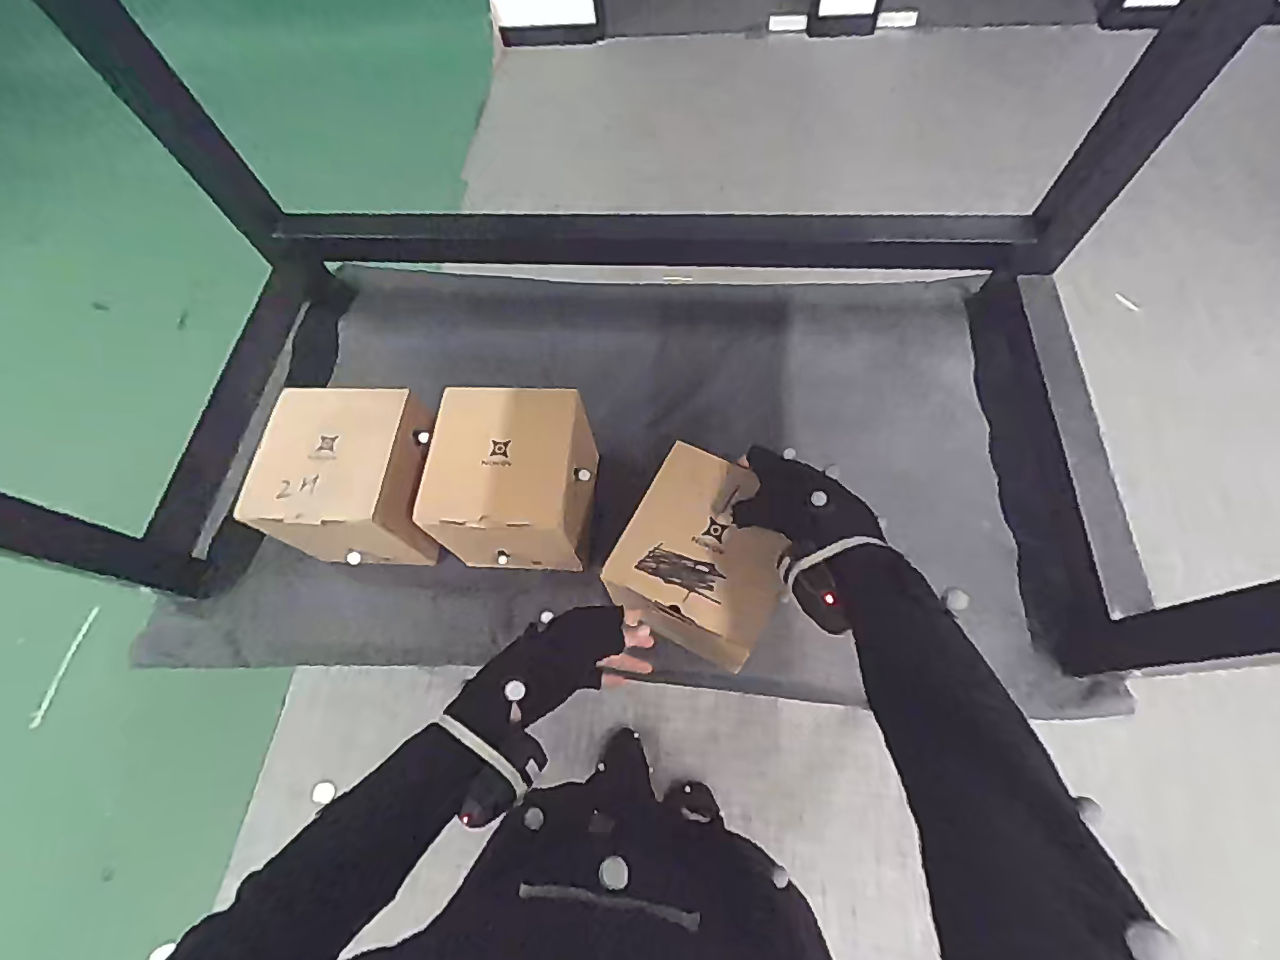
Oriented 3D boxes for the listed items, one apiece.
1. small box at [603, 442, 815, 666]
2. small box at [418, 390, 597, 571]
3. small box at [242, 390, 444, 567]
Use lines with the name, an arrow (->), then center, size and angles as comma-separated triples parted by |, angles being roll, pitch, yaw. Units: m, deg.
small box -> 0.079, 0.093, 0.625 | 0.168, 0.176, 0.179 | 25, 68, 15
small box -> -0.151, 0.005, 0.689 | 0.168, 0.176, 0.179 | 2, 65, 6
small box -> -0.354, 0.002, 0.704 | 0.168, 0.176, 0.179 | 1, 65, 5
